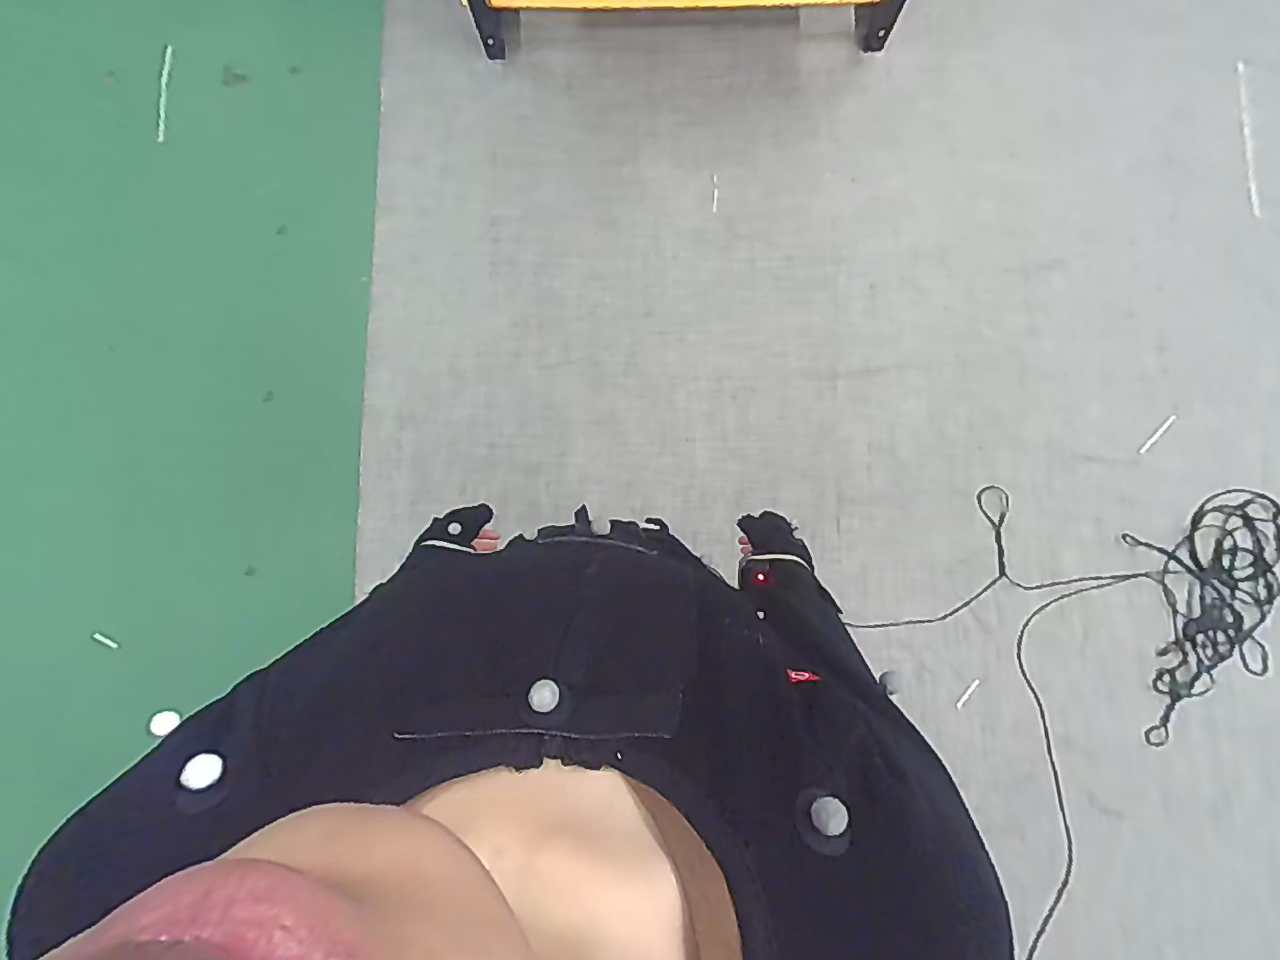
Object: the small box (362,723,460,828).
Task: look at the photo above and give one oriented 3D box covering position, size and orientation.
[{"bbox_3d":[-0.567,0.735,1.360,0.168,0.176,0.179,4,84,2],"label":"small box"}]
